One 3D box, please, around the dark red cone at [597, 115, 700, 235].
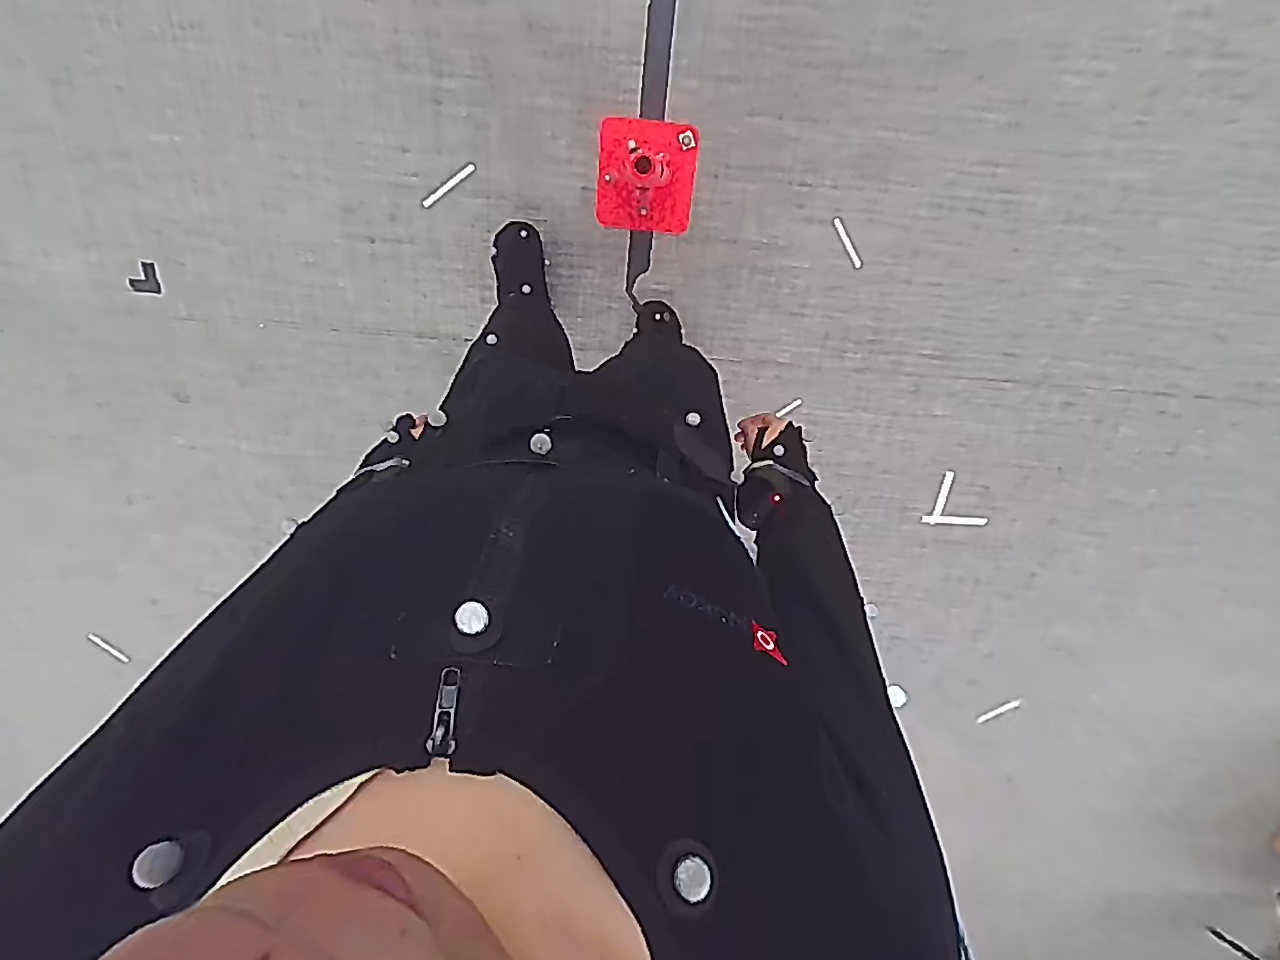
[{"bbox_3d":[0.008,-0.535,0.942,0.201,0.394,0.202,5,117,0],"label":"dark red cone"}]
